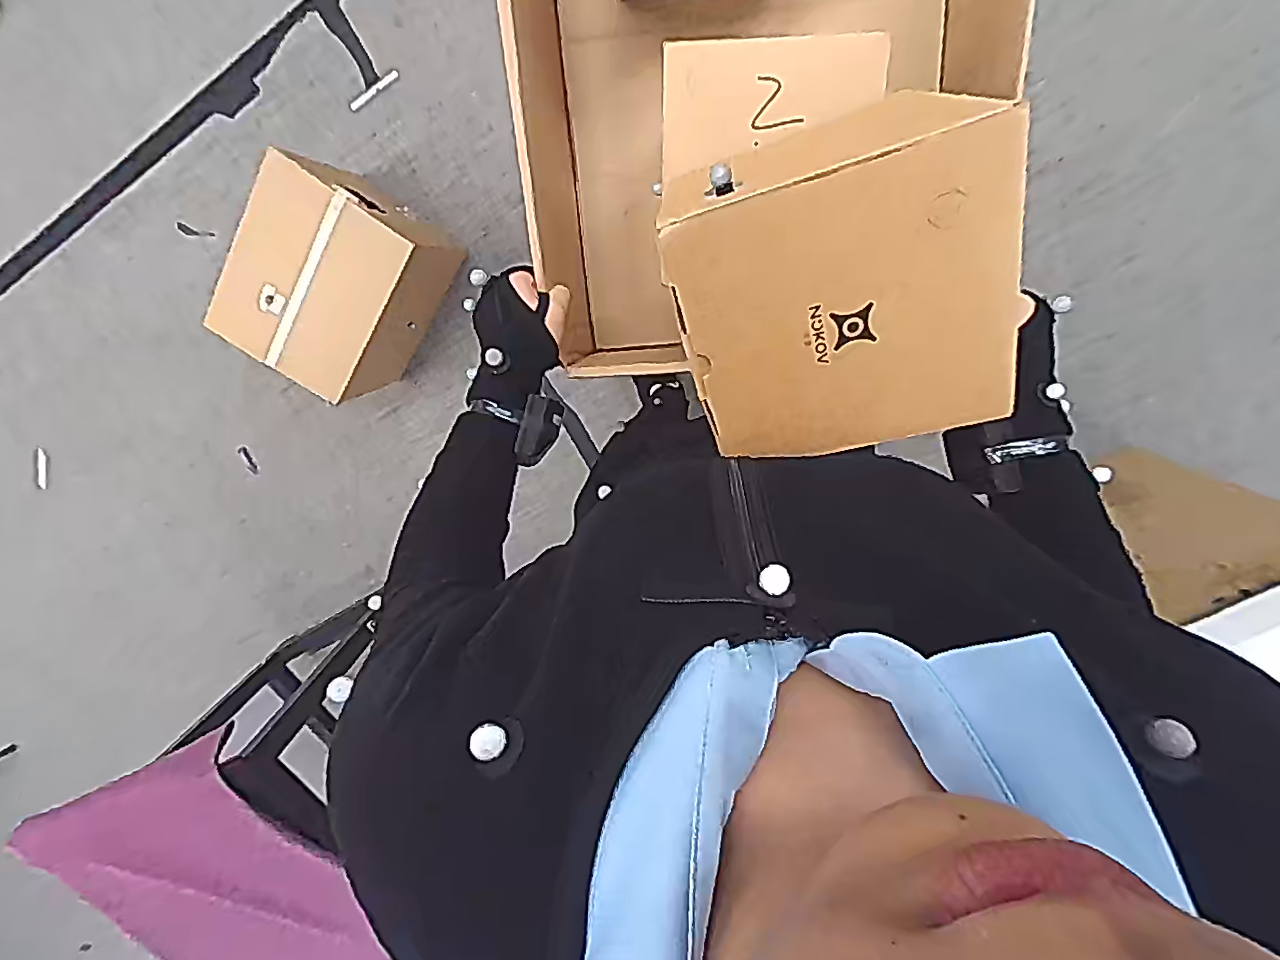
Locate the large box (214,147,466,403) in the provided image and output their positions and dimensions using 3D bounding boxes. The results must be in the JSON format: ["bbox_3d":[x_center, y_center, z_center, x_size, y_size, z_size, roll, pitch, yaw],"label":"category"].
[{"bbox_3d":[-0.663,-0.454,1.242,0.320,0.320,0.408,33,110,-8],"label":"large box"}]
